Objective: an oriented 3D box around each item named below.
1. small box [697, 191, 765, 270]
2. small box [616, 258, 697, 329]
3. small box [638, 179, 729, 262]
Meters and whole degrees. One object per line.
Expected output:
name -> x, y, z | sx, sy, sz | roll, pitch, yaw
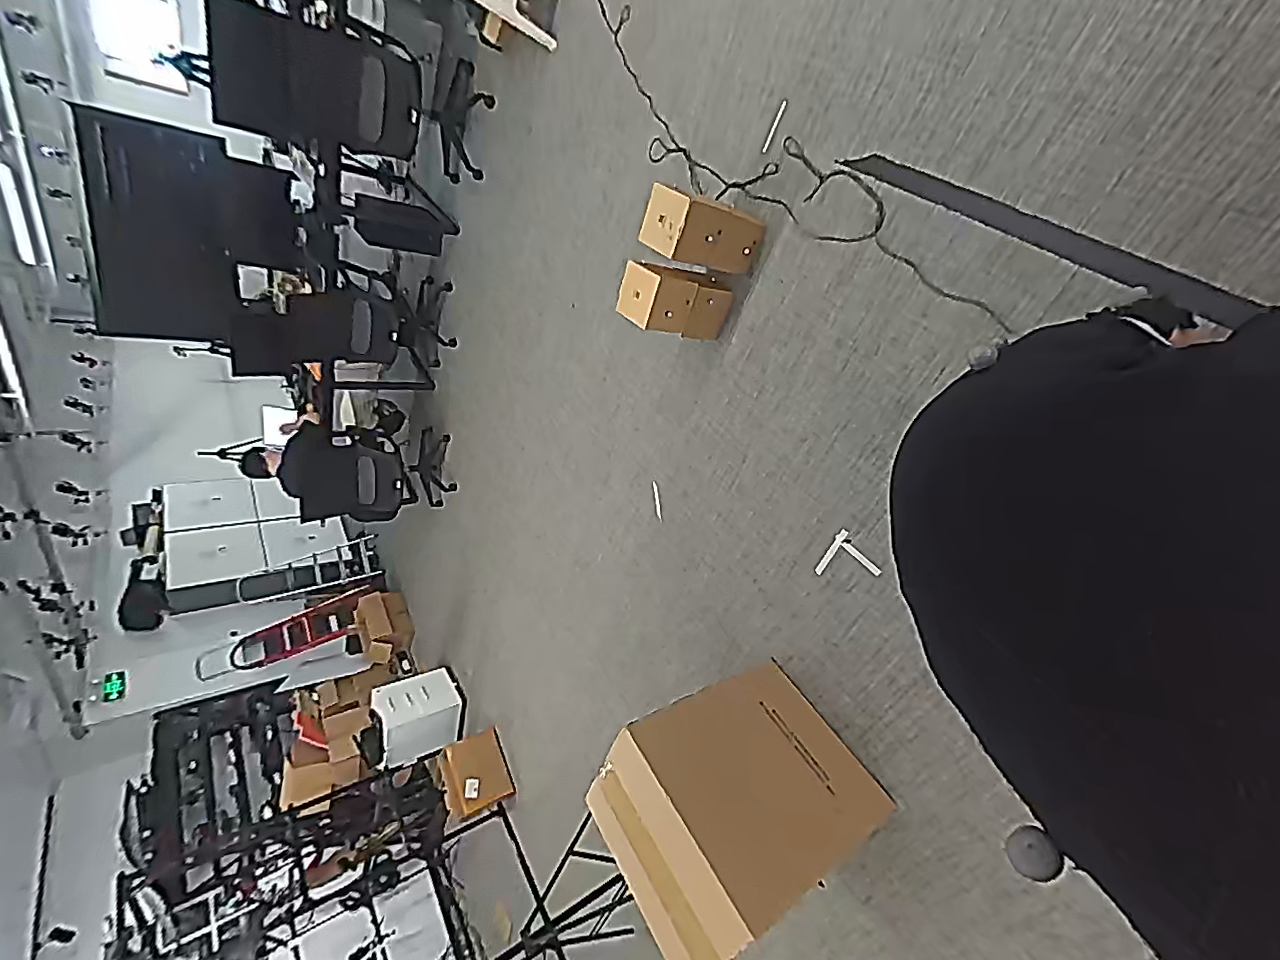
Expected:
small box -> 0.255, -0.776, 1.695 | 0.179, 0.176, 0.168 | 48, 131, 34
small box -> 0.054, -0.589, 1.718 | 0.179, 0.176, 0.168 | 45, 129, 39
small box -> 0.128, -0.759, 1.591 | 0.179, 0.176, 0.168 | 47, 130, 35
